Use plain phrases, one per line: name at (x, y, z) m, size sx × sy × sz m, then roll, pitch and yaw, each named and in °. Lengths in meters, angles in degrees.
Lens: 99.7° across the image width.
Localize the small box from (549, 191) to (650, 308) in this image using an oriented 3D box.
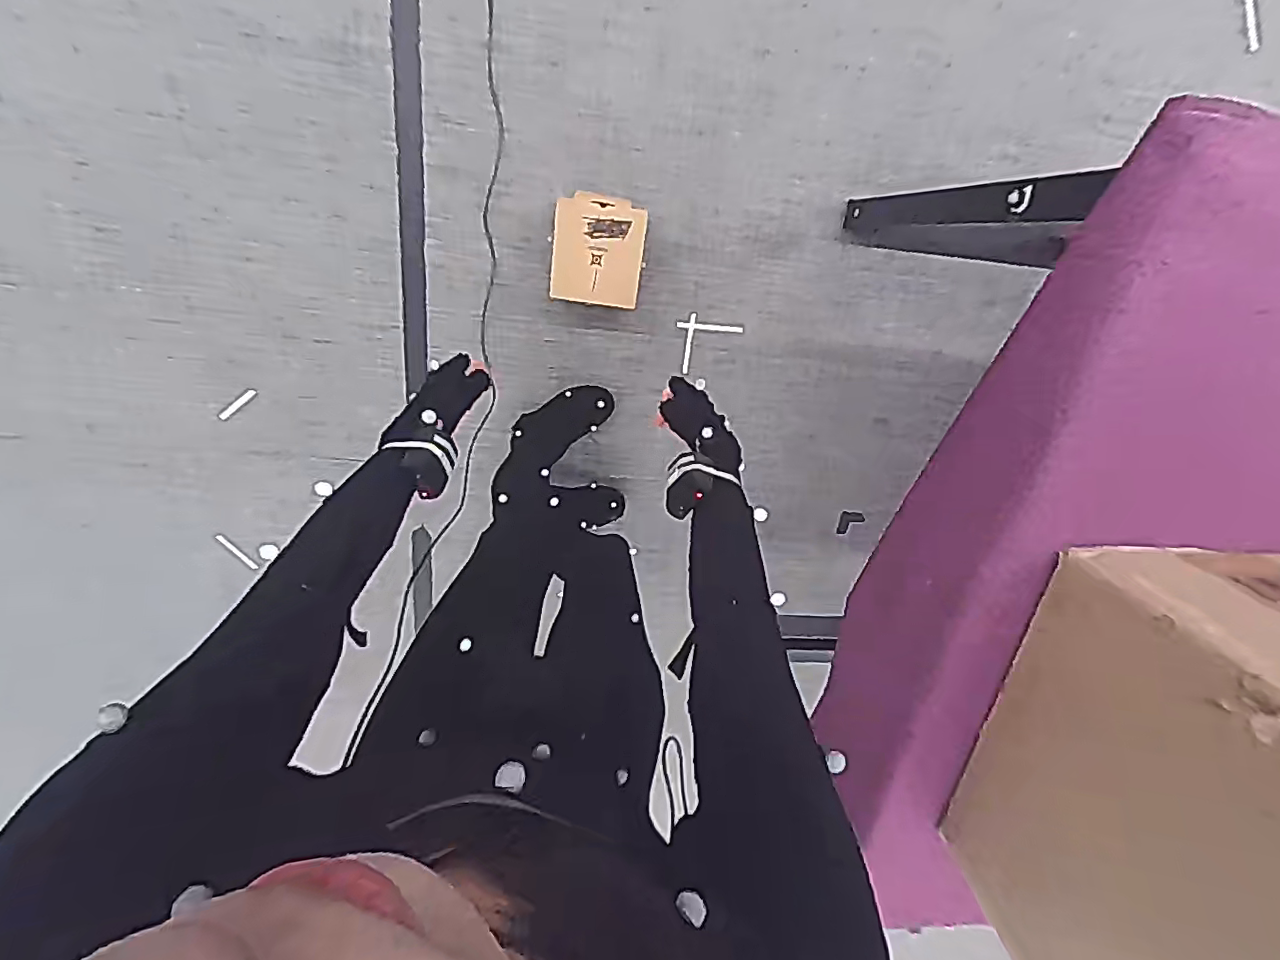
small box at (-0.084, -0.445, 1.053) m, size 0.168 × 0.176 × 0.179 m, roll 6°, pitch 113°, yaw -9°
